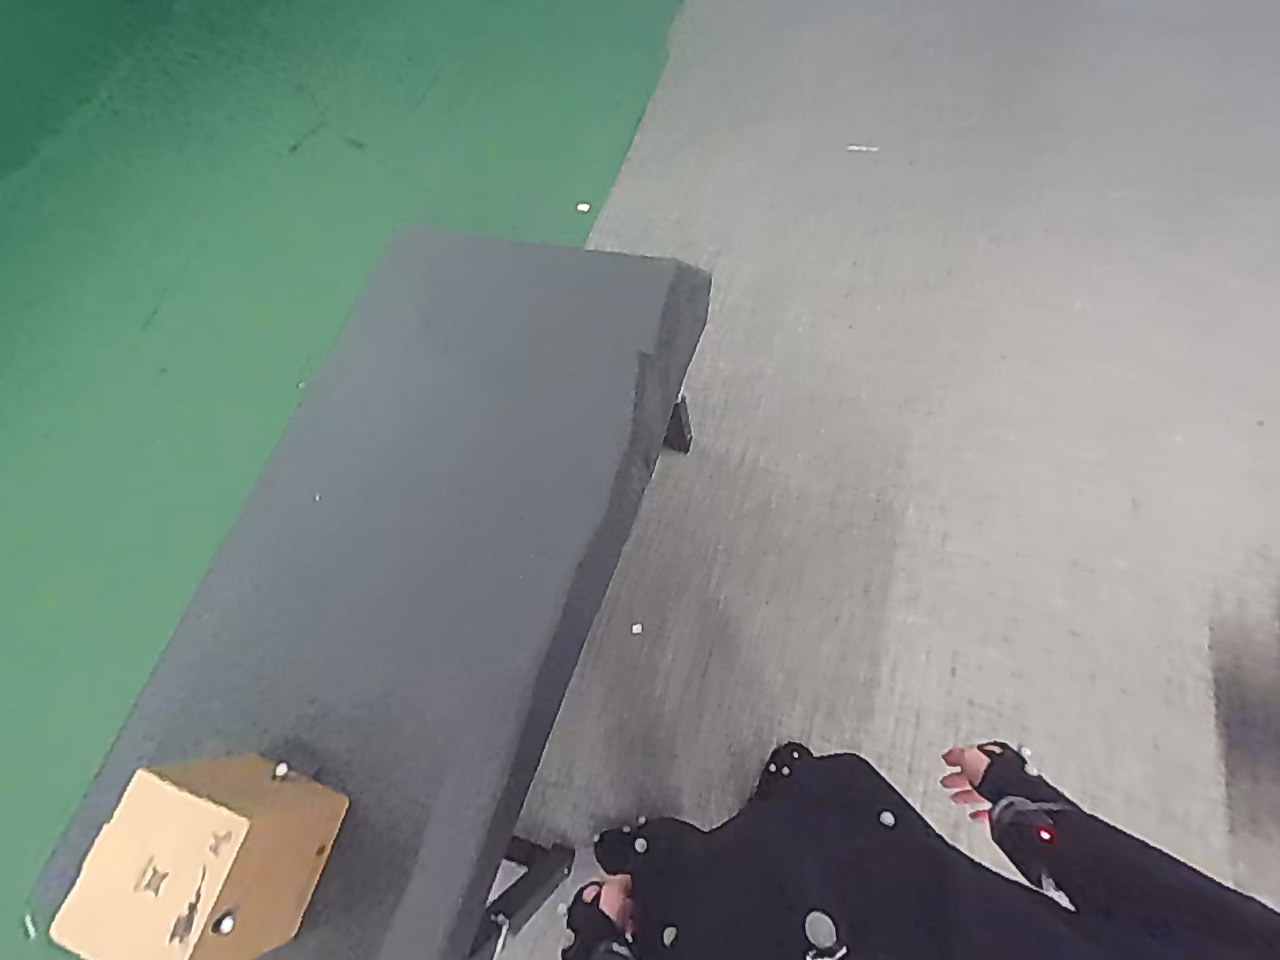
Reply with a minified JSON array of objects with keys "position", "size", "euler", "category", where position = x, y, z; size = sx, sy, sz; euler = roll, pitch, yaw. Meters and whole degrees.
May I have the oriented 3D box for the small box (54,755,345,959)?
[{"position":[-0.507,0.446,0.649],"size":[0.179,0.176,0.168],"euler":[12,72,15],"category":"small box"}]
